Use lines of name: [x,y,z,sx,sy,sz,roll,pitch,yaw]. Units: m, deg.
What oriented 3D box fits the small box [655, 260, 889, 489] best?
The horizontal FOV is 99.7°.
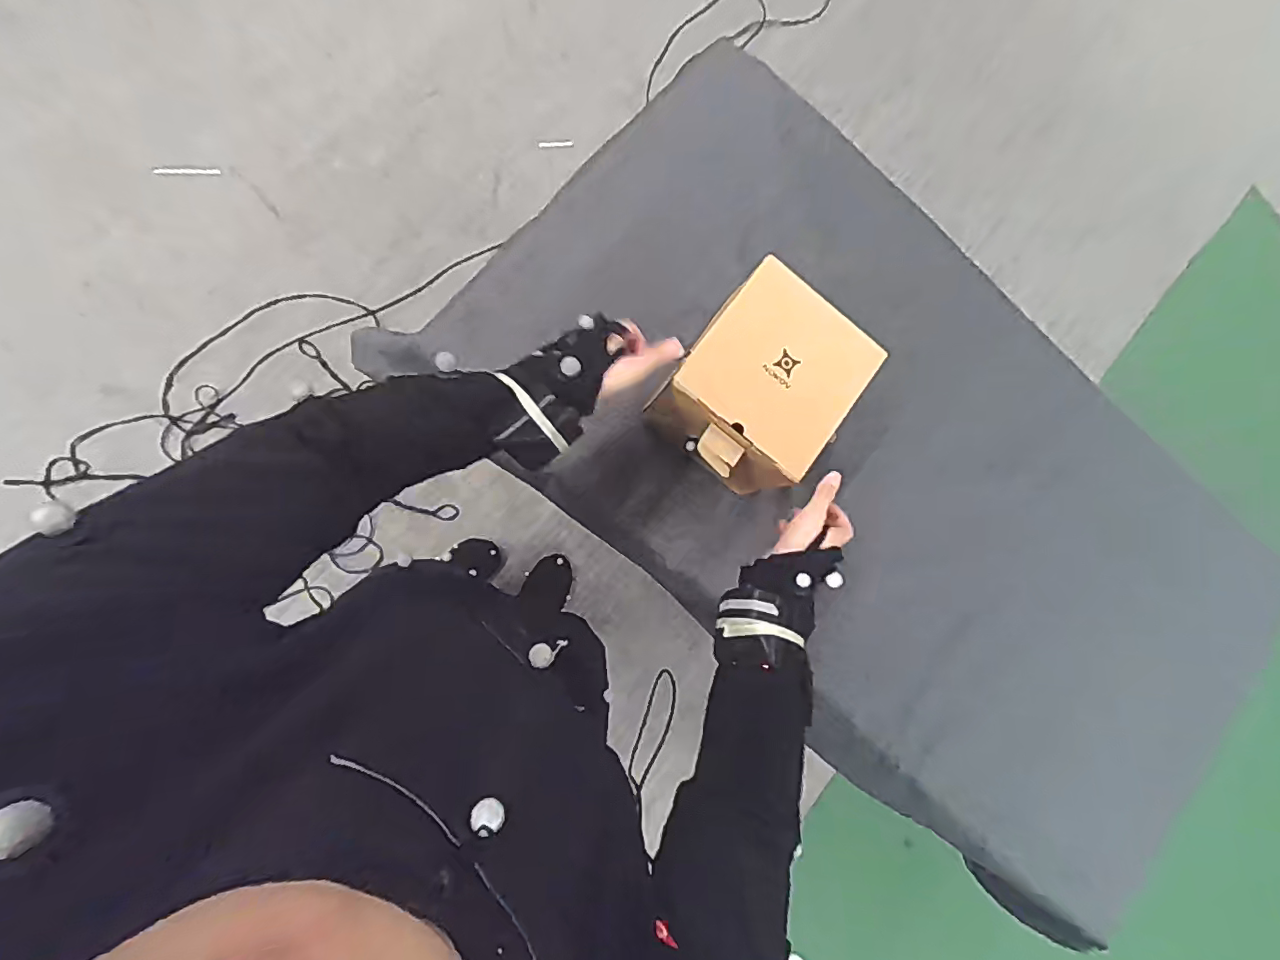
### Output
small box: [0.138,-0.106,0.628,0.168,0.176,0.179,38,80,-5]
